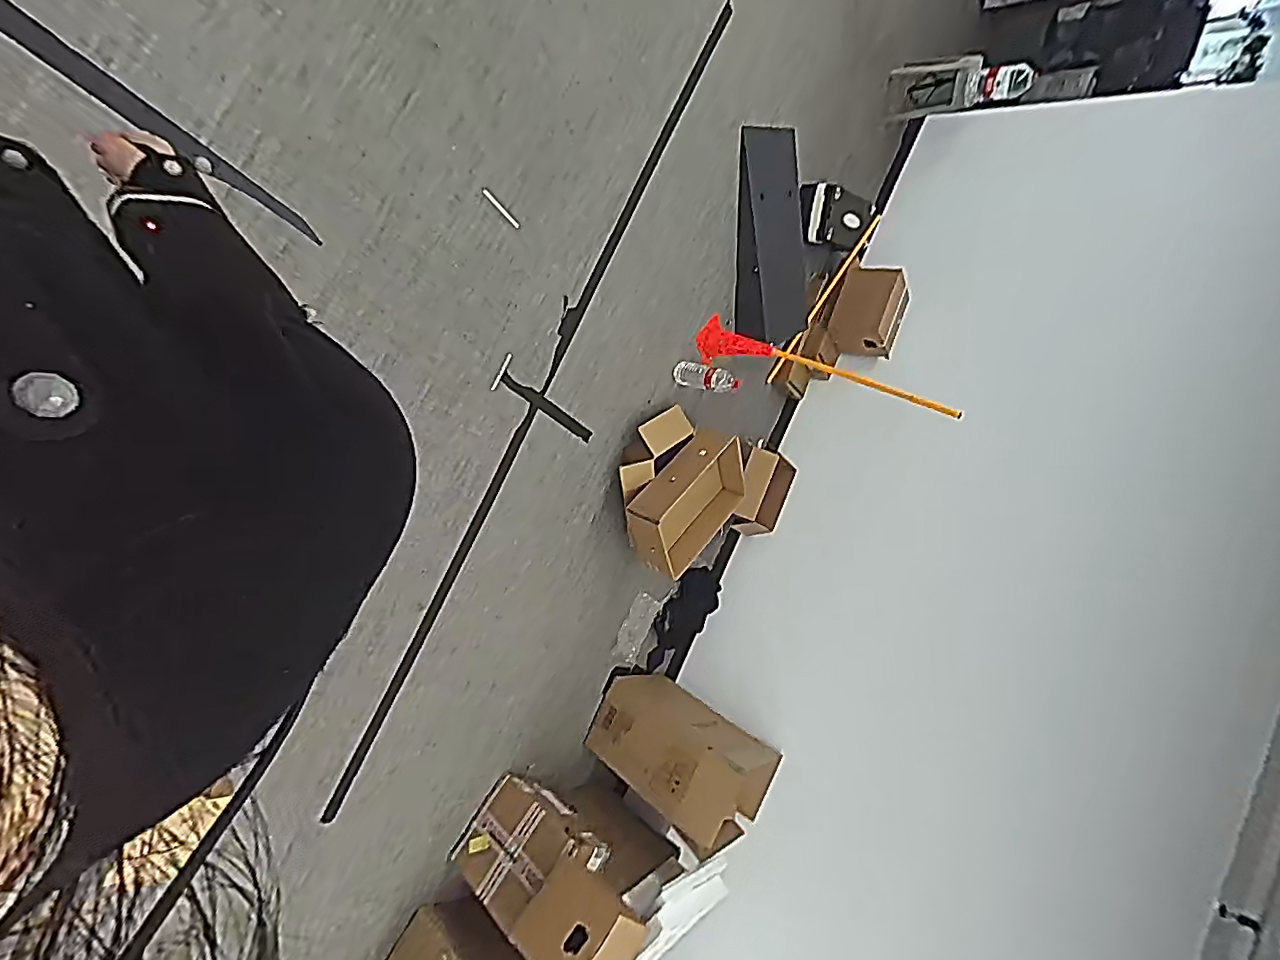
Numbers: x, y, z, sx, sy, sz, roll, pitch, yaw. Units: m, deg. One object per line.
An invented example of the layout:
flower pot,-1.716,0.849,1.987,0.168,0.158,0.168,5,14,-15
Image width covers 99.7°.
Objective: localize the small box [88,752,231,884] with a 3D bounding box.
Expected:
small box,-1.054,0.727,1.184,0.168,0.176,0.179,40,74,-54
